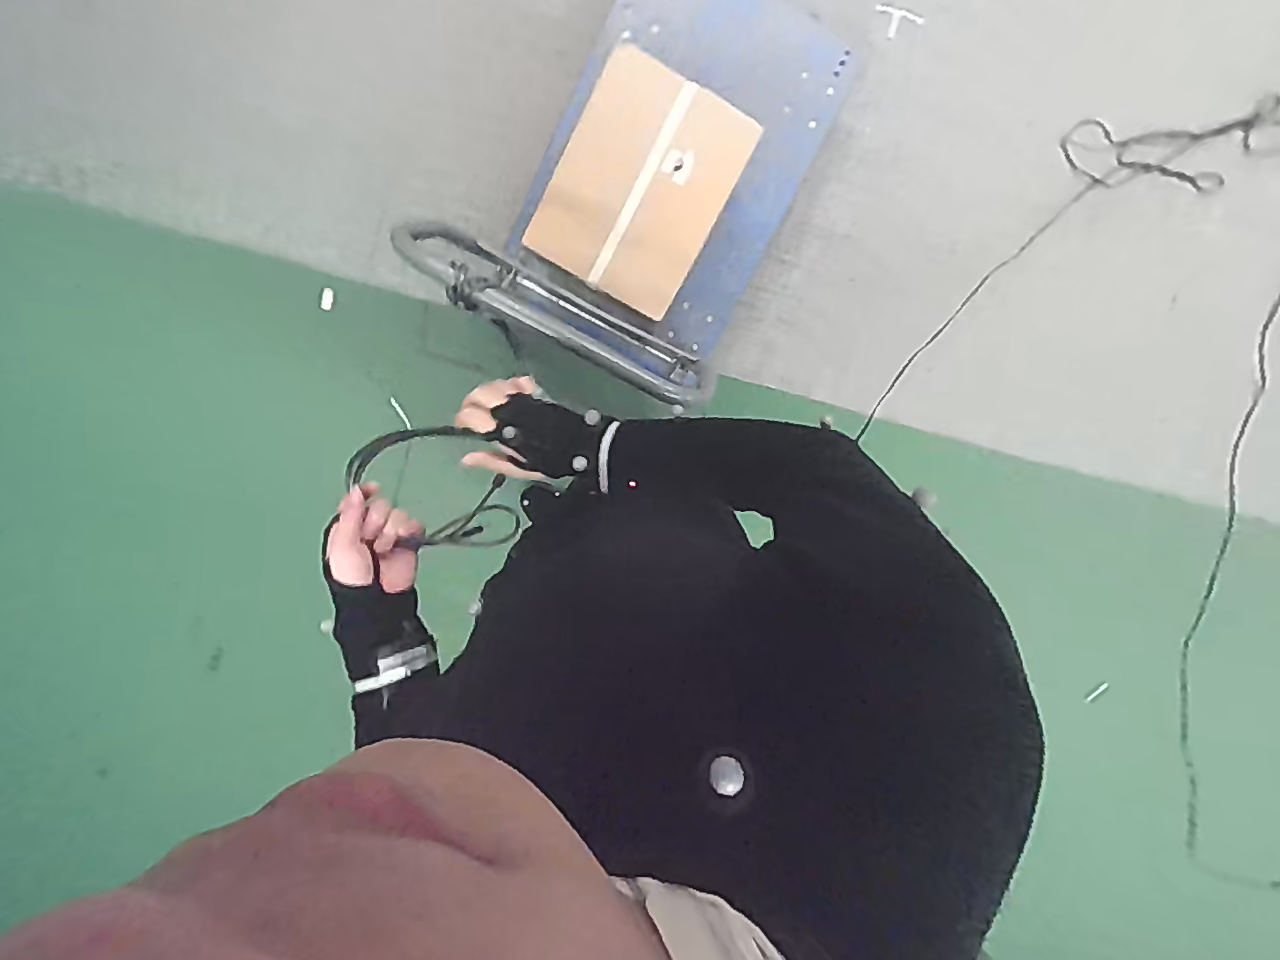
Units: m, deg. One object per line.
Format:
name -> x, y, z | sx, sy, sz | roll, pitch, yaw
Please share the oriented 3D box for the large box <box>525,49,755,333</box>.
large box -> -0.005, -0.585, 1.191 | 0.320, 0.320, 0.408 | 28, 99, -6
